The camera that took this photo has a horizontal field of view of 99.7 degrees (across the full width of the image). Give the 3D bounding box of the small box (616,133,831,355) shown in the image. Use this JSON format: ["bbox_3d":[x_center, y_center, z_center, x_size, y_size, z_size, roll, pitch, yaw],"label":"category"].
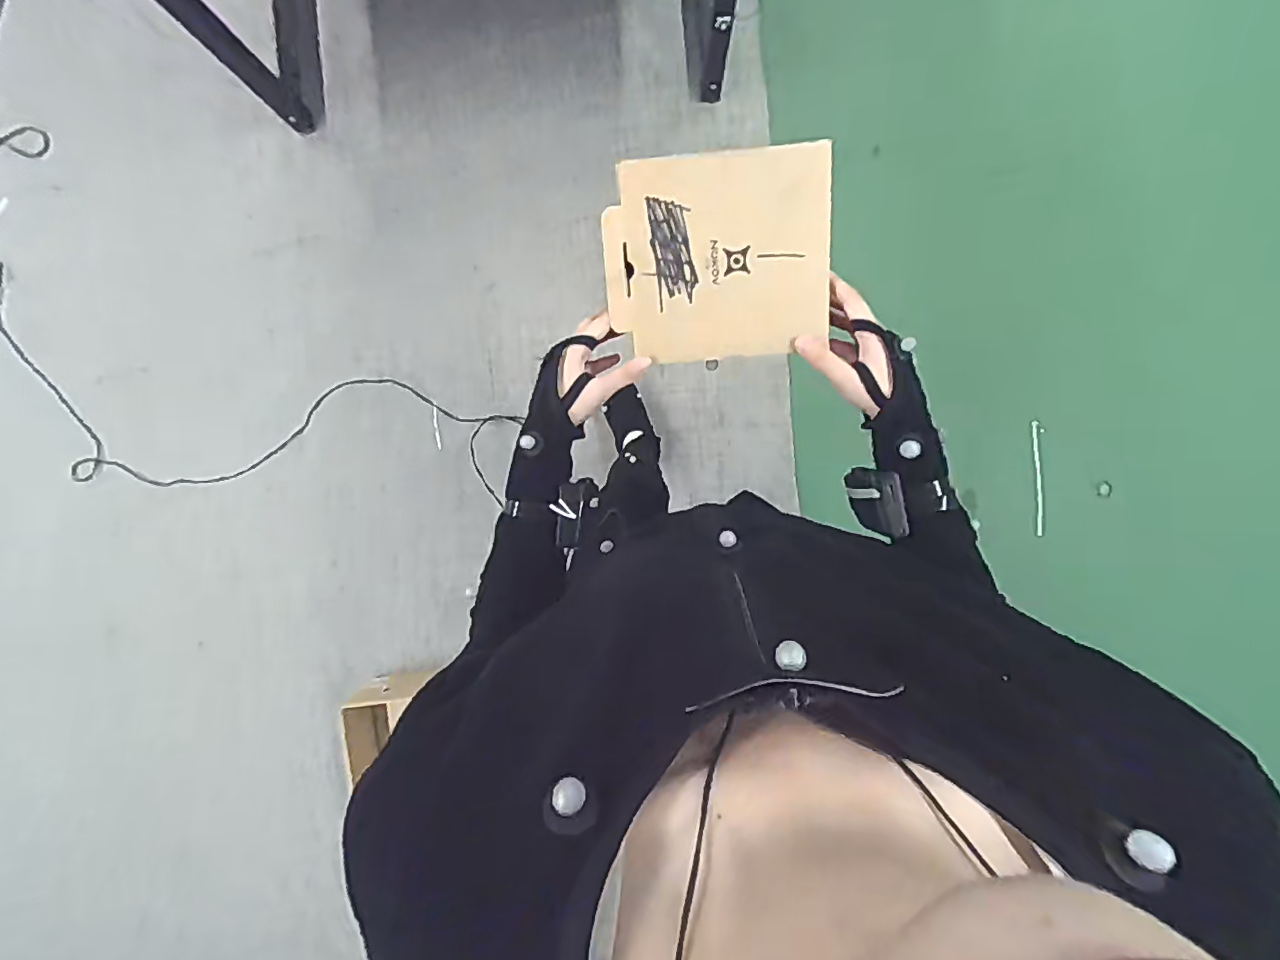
[{"bbox_3d":[0.077,-0.217,0.536,0.179,0.176,0.168,-5,107,3],"label":"small box"}]
